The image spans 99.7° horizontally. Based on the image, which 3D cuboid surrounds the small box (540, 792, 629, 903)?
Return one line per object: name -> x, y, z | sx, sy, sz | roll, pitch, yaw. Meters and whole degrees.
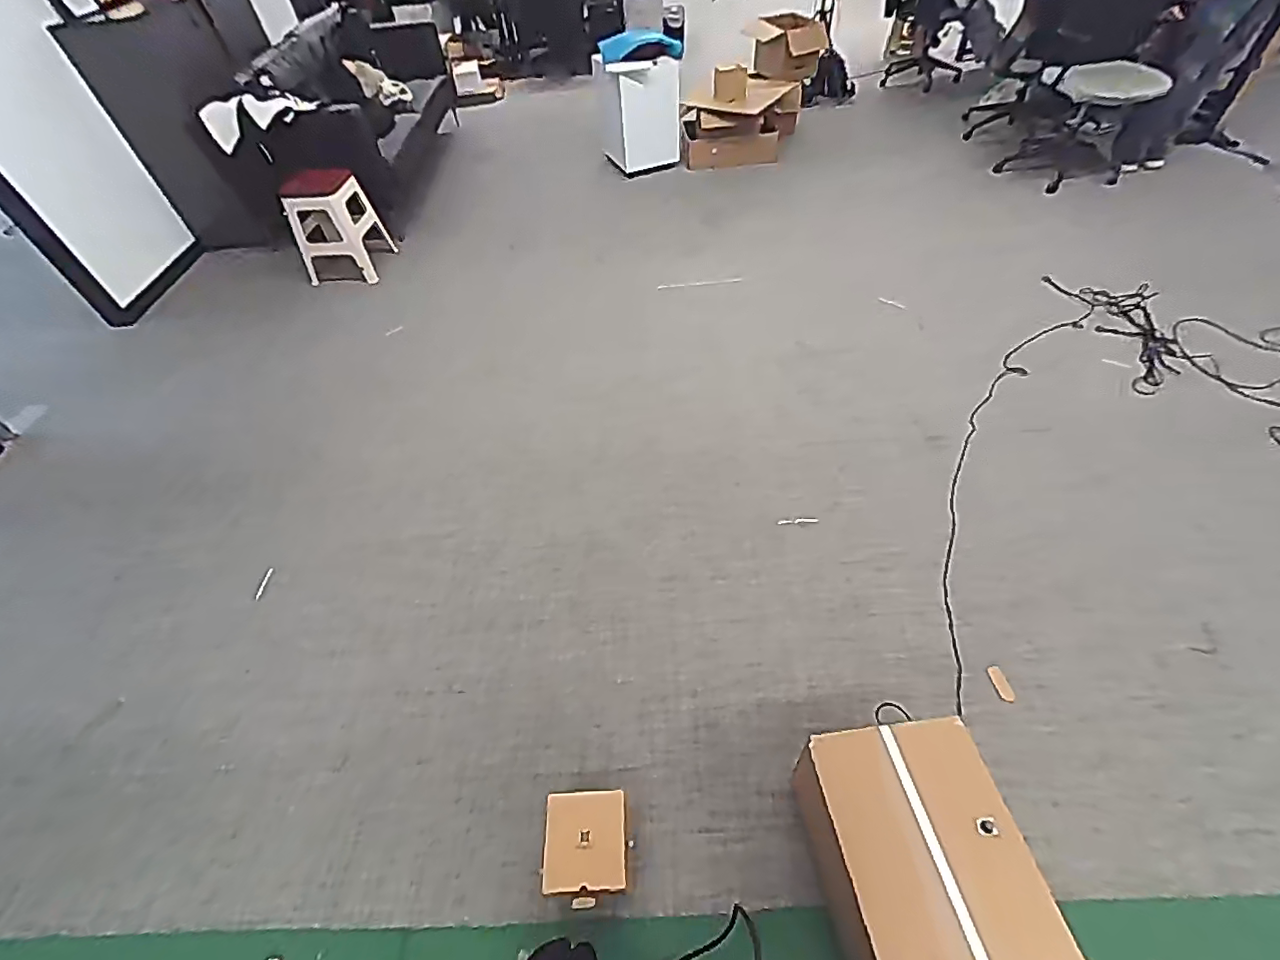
small box -> -0.113, 0.797, 1.171 | 0.168, 0.176, 0.179 | -5, 50, 1
